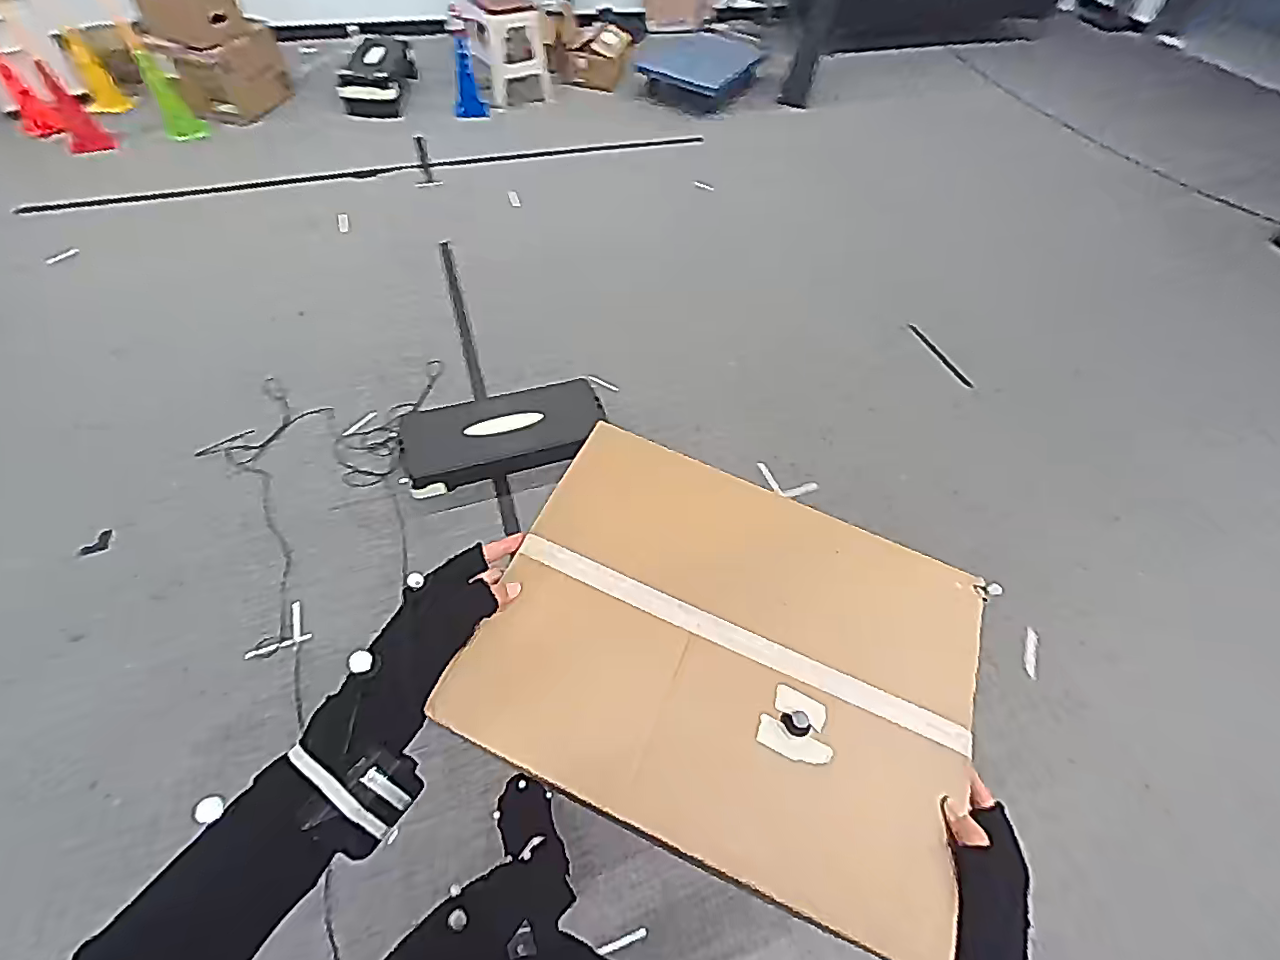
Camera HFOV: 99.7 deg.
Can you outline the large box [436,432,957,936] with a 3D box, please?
[{"bbox_3d":[0.059,0.211,0.603,0.408,0.320,0.320,22,59,8],"label":"large box"}]
